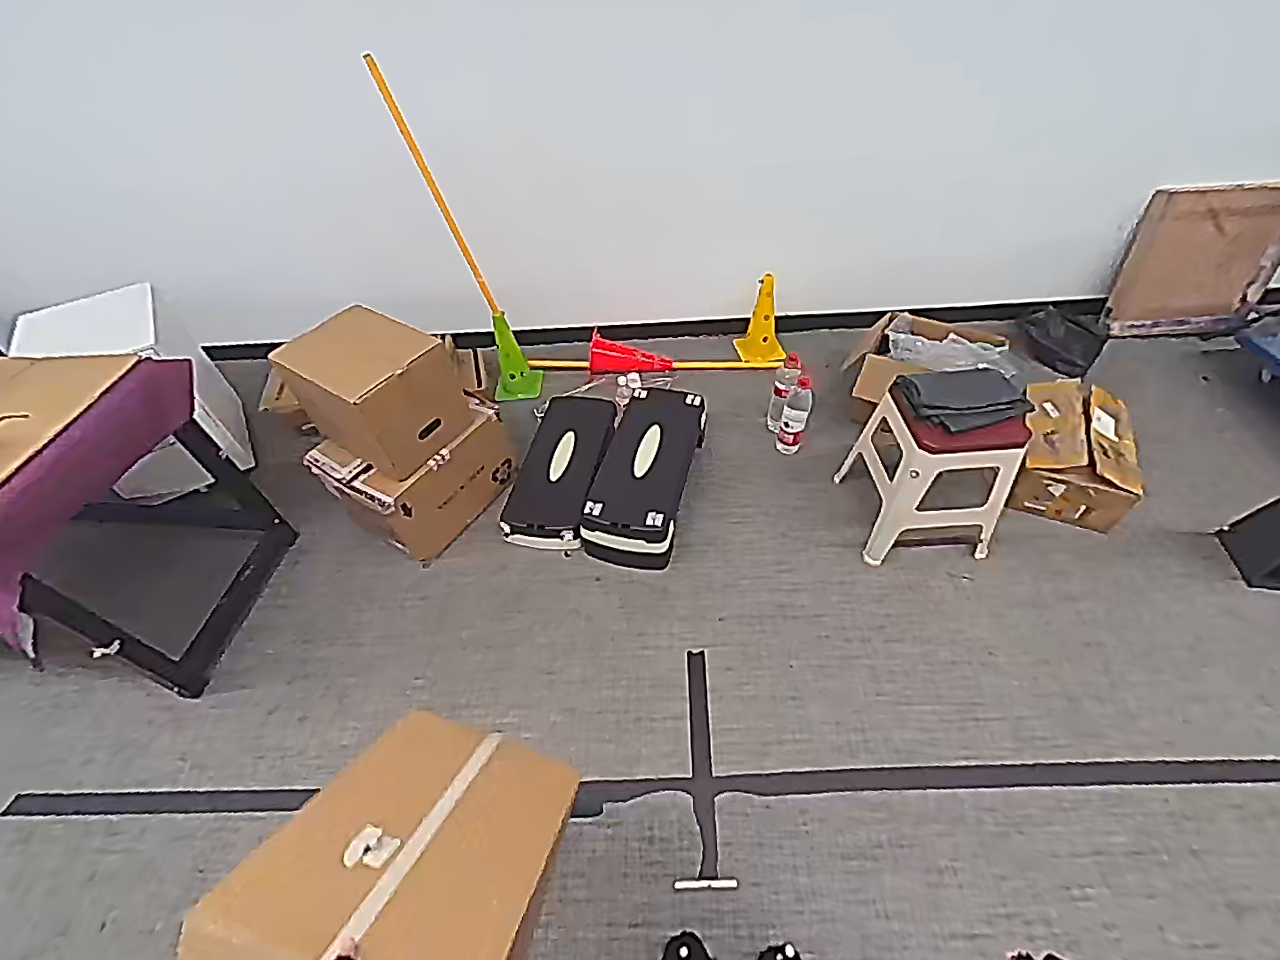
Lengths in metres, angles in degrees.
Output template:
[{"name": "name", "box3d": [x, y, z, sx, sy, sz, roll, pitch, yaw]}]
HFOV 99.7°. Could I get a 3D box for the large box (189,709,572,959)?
[{"name": "large box", "box3d": [-0.326, 0.608, 0.752, 0.320, 0.320, 0.408, 17, 10, 7]}]
